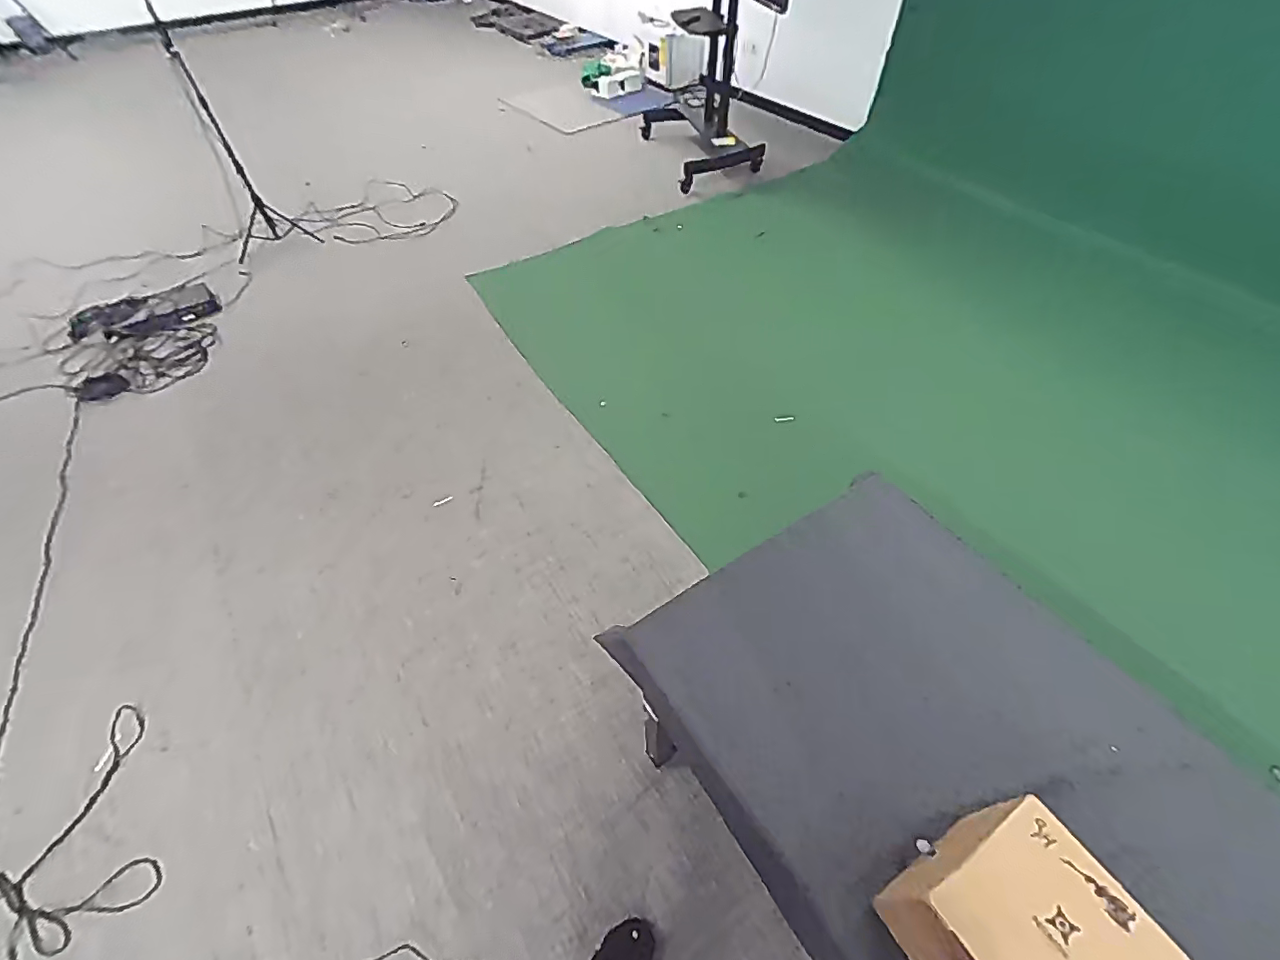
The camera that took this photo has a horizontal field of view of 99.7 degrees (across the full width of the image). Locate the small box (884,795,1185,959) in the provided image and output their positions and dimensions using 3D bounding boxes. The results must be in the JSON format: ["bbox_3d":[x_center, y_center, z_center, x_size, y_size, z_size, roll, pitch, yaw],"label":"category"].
[{"bbox_3d":[0.388,0.476,0.570,0.179,0.176,0.168,-25,54,-18],"label":"small box"}]
